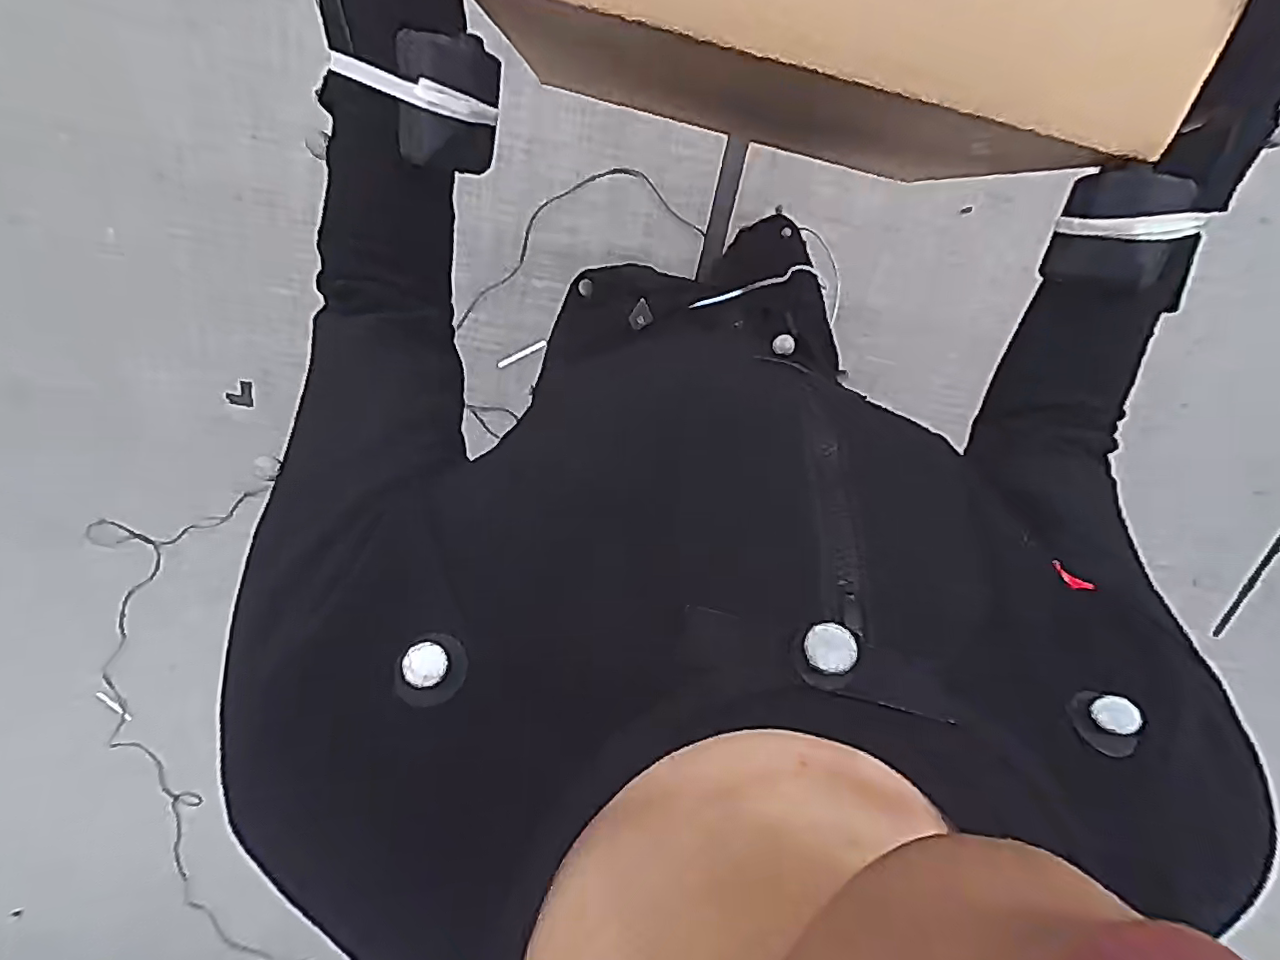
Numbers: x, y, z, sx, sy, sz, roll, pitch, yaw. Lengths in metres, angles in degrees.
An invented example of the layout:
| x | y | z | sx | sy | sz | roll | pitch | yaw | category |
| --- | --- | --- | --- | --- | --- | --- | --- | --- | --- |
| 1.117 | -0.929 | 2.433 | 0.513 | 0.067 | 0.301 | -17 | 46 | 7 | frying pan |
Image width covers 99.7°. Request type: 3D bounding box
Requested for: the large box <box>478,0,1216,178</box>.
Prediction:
| x | y | z | sx | sy | sz | roll | pitch | yaw | category |
| --- | --- | --- | --- | --- | --- | --- | --- | --- | --- |
| 0.125 | -0.424 | 0.365 | 0.408 | 0.320 | 0.320 | 11 | 118 | -6 | large box |
